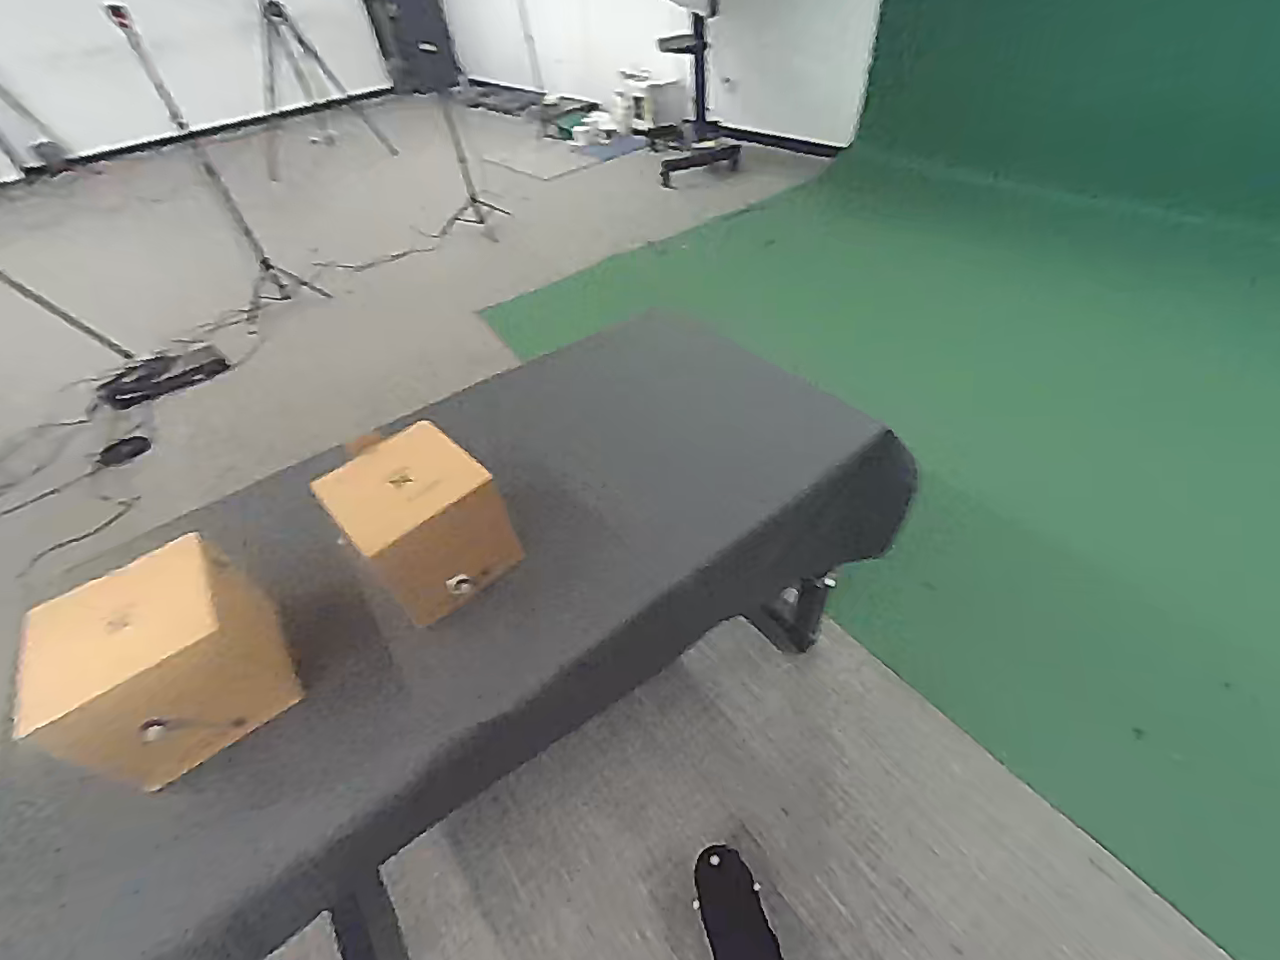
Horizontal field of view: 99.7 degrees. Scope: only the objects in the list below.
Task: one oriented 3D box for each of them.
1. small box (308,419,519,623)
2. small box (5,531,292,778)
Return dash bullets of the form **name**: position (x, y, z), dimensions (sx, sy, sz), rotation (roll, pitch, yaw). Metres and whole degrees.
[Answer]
- **small box**: position (-0.290, 0.054, 0.717), dimensions (0.168, 0.176, 0.179), rotation (-38, 53, -26)
- **small box**: position (-0.527, 0.198, 0.602), dimensions (0.168, 0.176, 0.179), rotation (-32, 49, -23)
